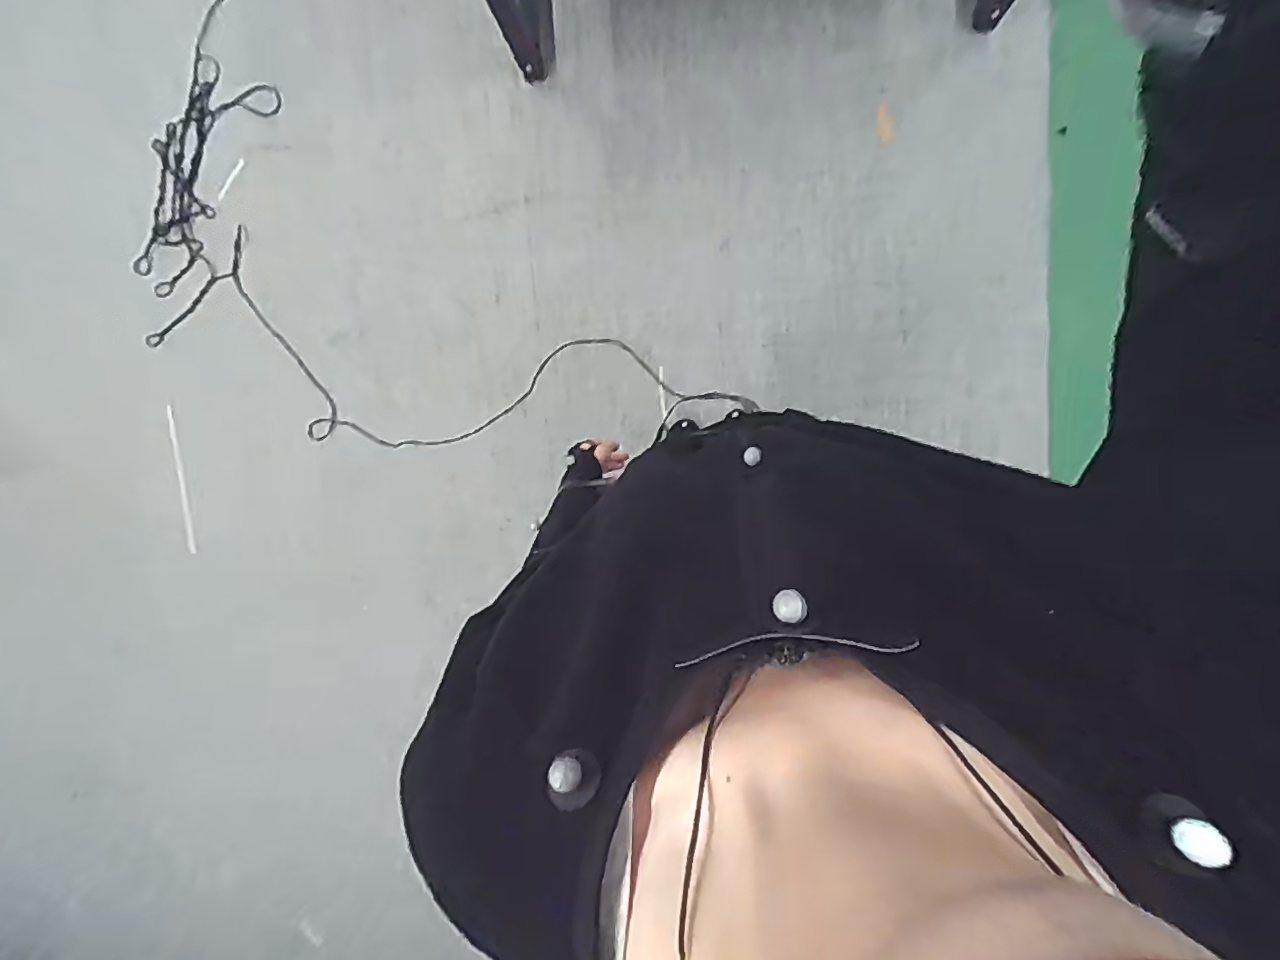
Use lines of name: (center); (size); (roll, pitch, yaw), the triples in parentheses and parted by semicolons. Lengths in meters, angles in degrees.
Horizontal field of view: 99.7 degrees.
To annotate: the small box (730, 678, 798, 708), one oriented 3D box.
small box: (0.329, 0.635, 1.418); (0.168, 0.176, 0.179); (-8, 94, 10)
